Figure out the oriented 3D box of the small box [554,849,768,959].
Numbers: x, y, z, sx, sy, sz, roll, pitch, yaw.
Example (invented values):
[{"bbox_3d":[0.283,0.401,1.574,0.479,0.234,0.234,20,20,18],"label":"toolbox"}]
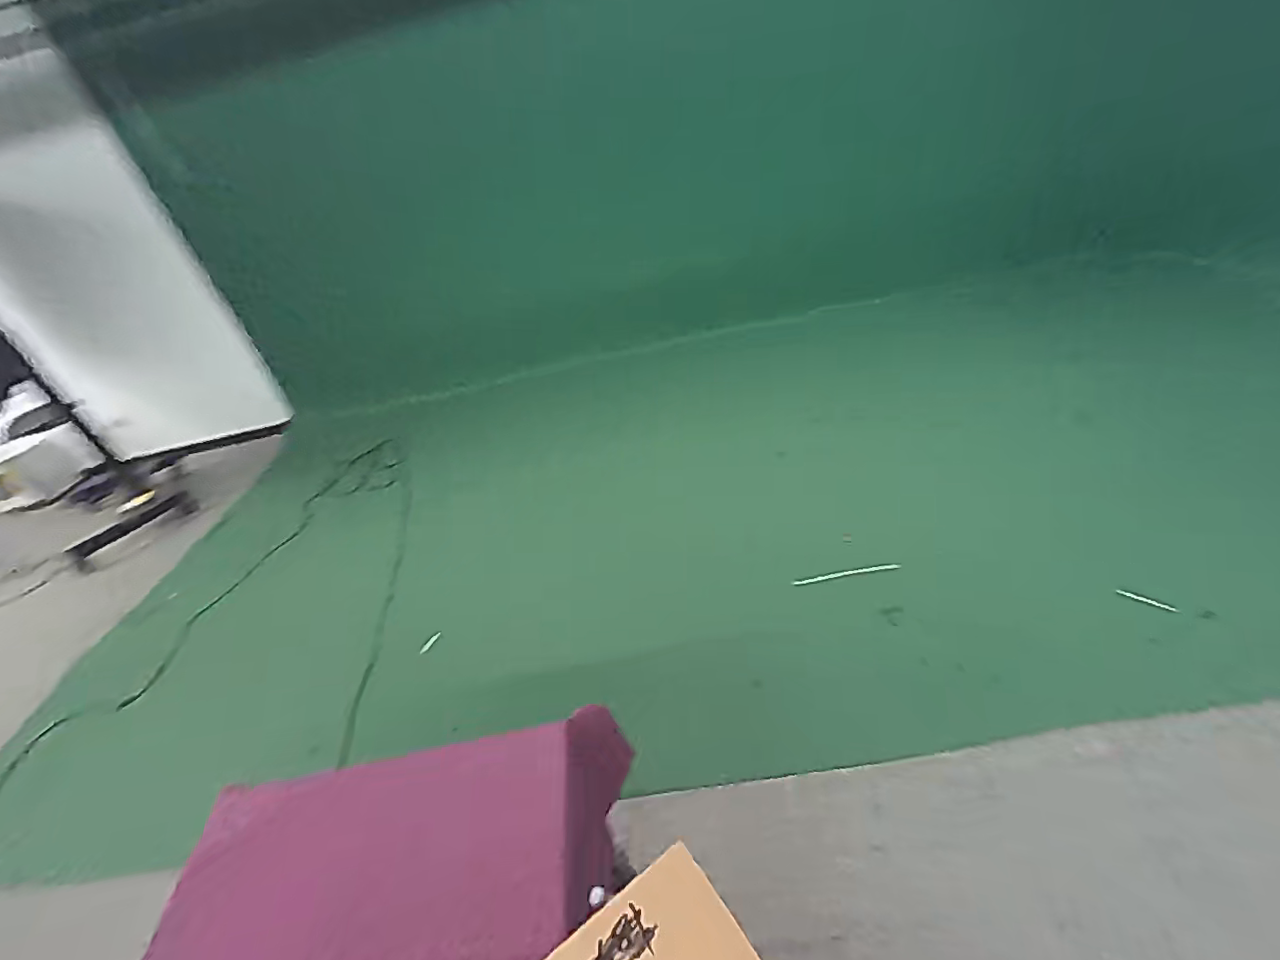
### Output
[{"bbox_3d":[0.020,0.390,0.353,0.168,0.176,0.179,-26,51,-22],"label":"small box"}]
